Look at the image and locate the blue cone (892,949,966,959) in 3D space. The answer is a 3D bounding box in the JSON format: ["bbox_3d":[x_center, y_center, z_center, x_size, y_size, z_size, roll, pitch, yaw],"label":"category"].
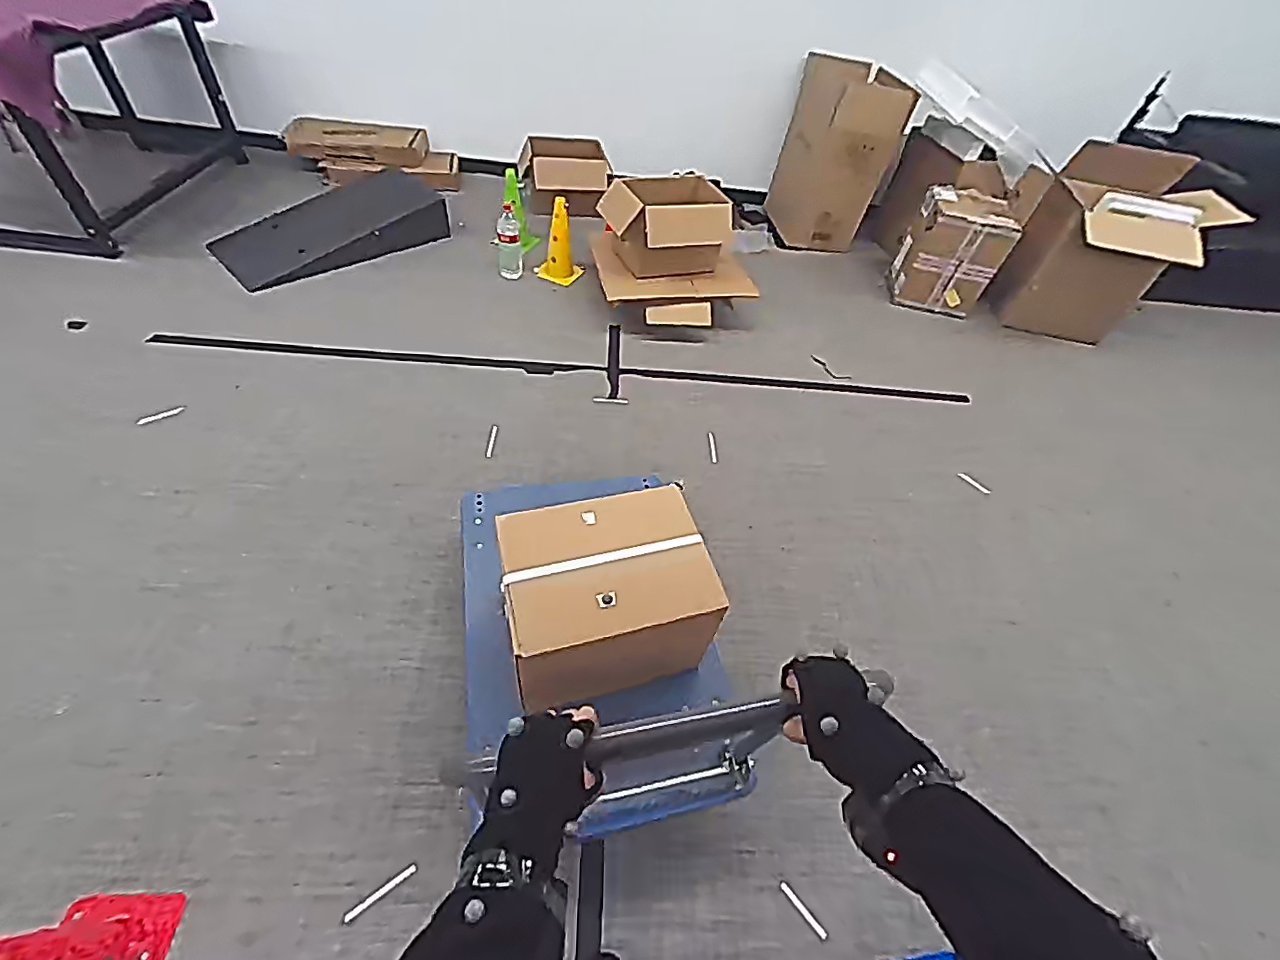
[{"bbox_3d":[0.605,0.927,0.917,0.193,0.380,0.192,1,48,-9],"label":"blue cone"}]
